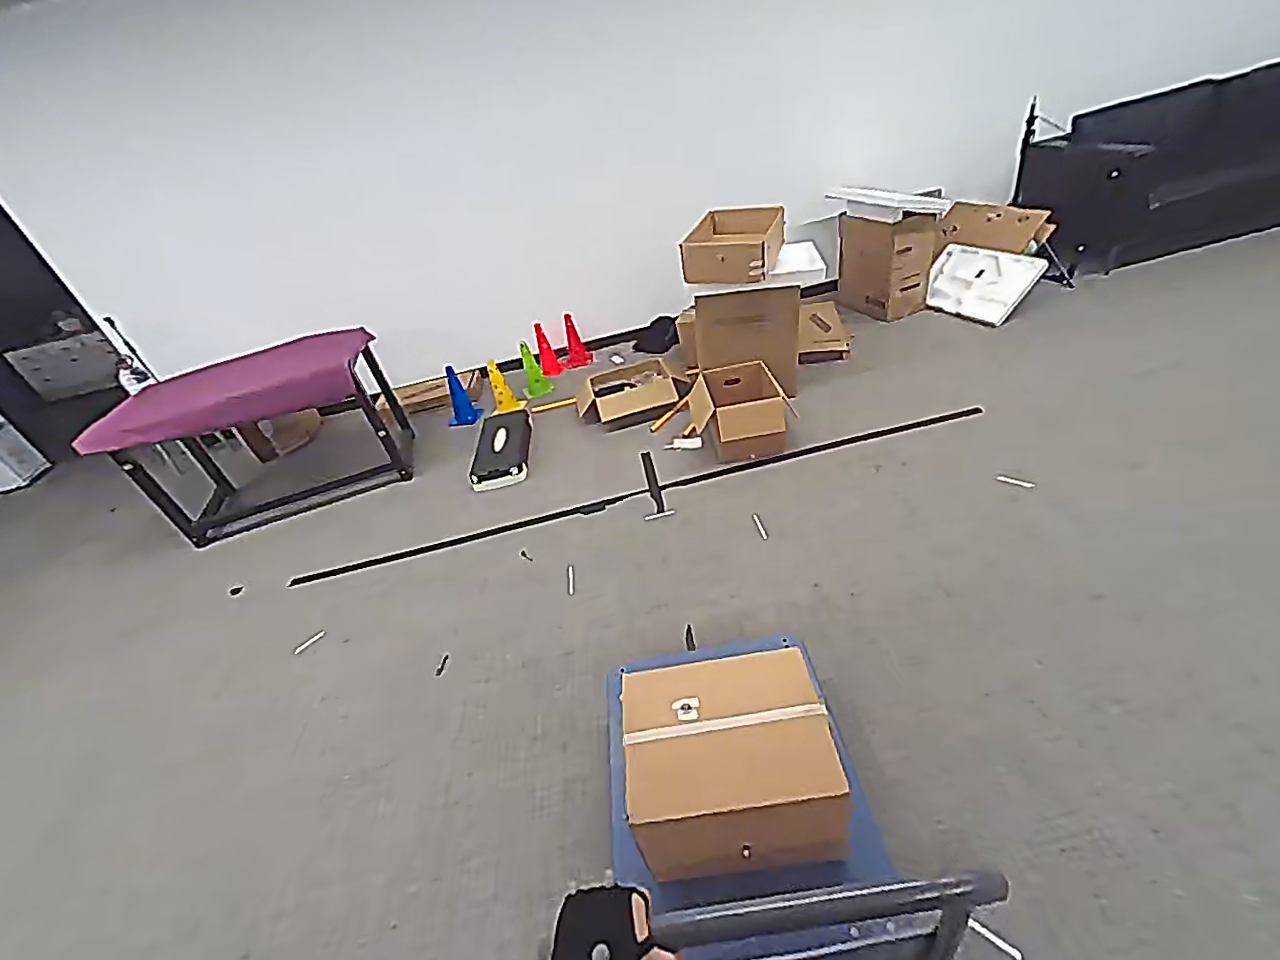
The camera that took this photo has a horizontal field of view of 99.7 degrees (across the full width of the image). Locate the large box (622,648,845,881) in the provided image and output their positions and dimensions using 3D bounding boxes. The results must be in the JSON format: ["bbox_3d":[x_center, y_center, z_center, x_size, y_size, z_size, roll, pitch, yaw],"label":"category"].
[{"bbox_3d":[0.194,0.621,1.184,0.408,0.320,0.320,-12,34,4],"label":"large box"}]
